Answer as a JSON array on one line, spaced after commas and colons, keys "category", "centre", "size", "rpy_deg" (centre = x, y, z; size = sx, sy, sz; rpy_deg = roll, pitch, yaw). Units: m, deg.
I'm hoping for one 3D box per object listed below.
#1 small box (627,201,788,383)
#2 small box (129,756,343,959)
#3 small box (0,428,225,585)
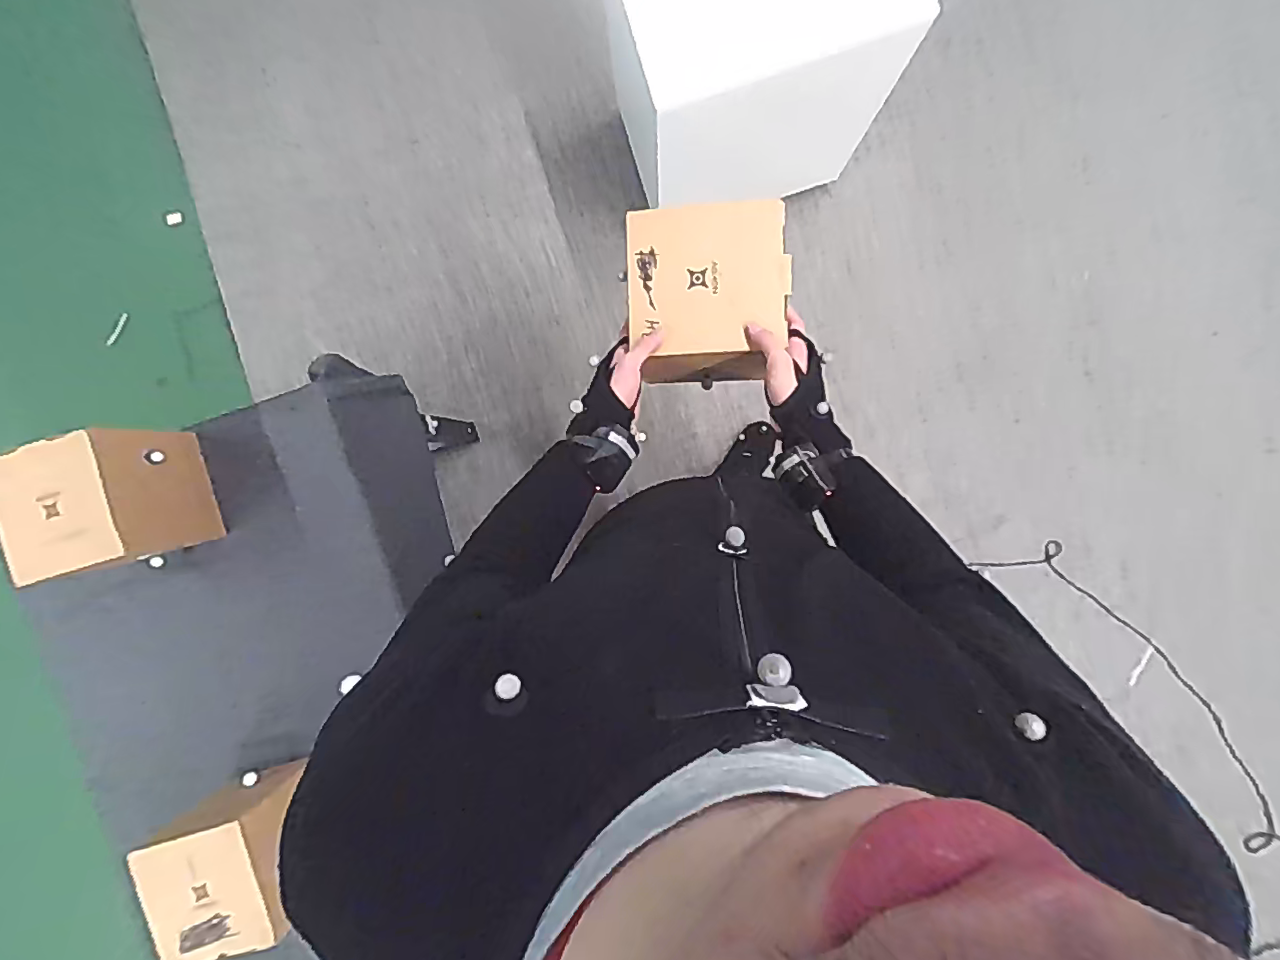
[{"category": "small box", "centre": [0.078, -0.217, 0.668], "size": [0.179, 0.176, 0.168], "rpy_deg": [-1, 88, 6]}, {"category": "small box", "centre": [-0.579, 0.551, 0.801], "size": [0.168, 0.176, 0.179], "rpy_deg": [-17, 90, 3]}, {"category": "small box", "centre": [-0.766, 0.033, 0.791], "size": [0.168, 0.176, 0.179], "rpy_deg": [-16, 93, 5]}]
